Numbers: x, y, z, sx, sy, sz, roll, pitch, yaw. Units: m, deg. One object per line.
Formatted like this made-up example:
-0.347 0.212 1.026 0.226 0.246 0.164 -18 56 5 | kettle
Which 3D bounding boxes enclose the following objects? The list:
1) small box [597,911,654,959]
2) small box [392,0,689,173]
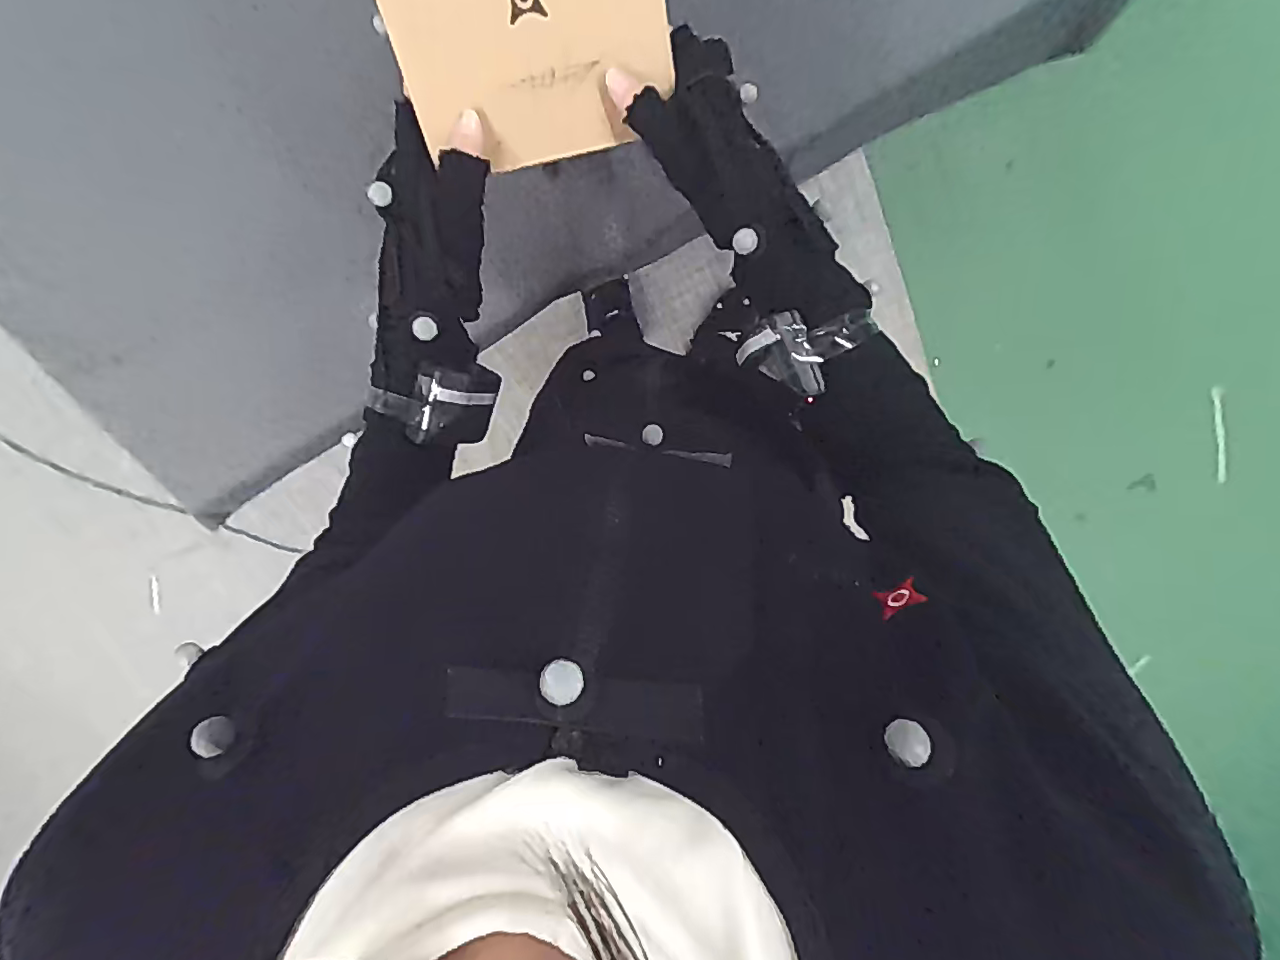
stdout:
-0.044 1.525 1.739 0.179 0.176 0.168 -3 115 1 | small box
-0.071 -0.332 0.374 0.168 0.176 0.179 -12 125 1 | small box
